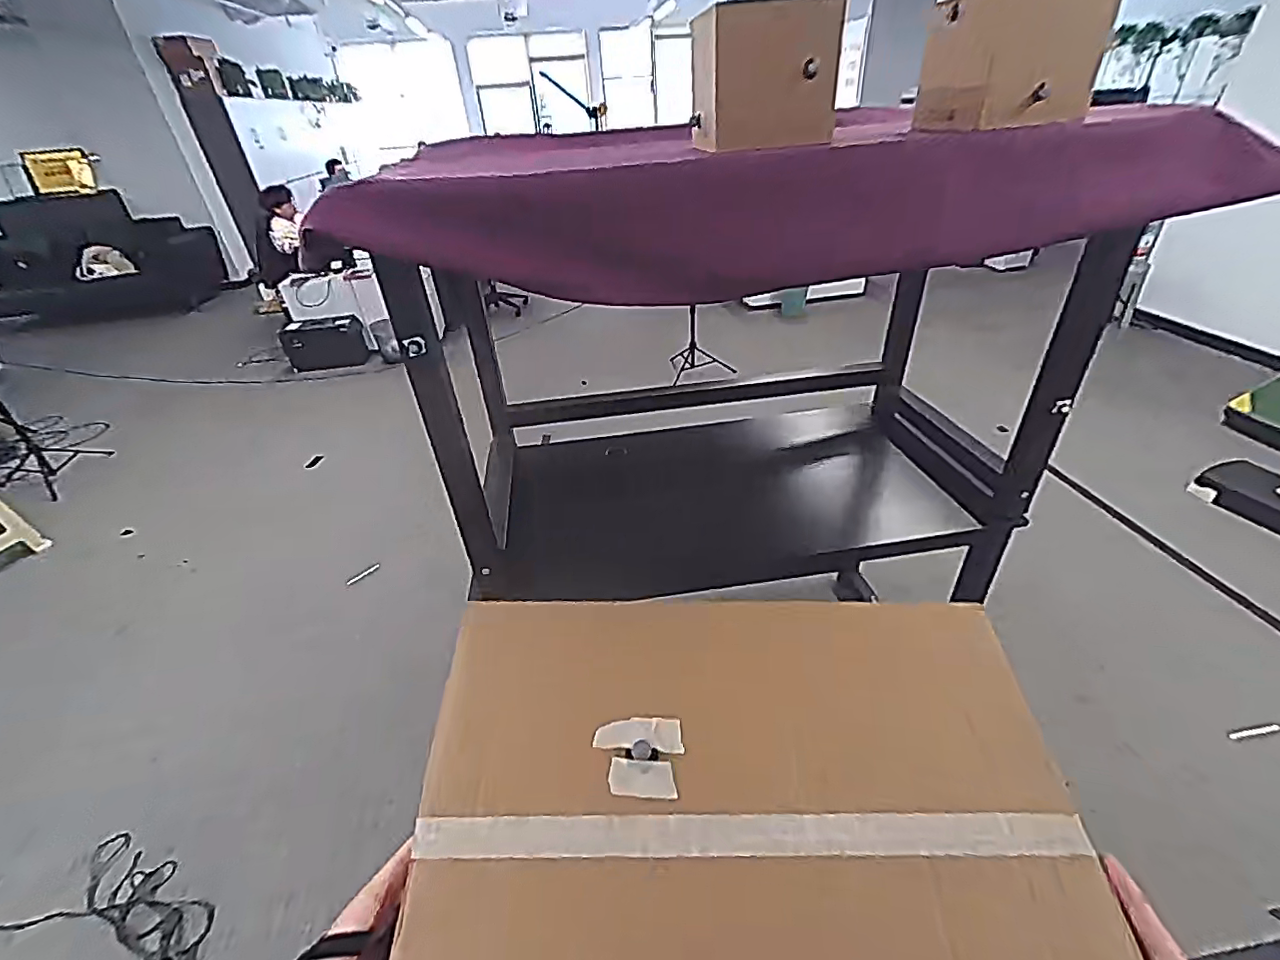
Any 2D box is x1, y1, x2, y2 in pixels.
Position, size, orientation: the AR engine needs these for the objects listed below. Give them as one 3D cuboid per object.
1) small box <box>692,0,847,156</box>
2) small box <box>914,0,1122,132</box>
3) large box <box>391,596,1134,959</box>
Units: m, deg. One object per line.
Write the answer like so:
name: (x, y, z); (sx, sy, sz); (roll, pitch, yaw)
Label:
small box: (0.175, -0.584, 0.792); (0.179, 0.176, 0.168); (-8, 34, -3)
small box: (0.539, -0.620, 0.794); (0.179, 0.176, 0.168); (-9, 34, -6)
large box: (0.068, 0.306, 0.438); (0.408, 0.320, 0.320); (-1, 51, 1)
